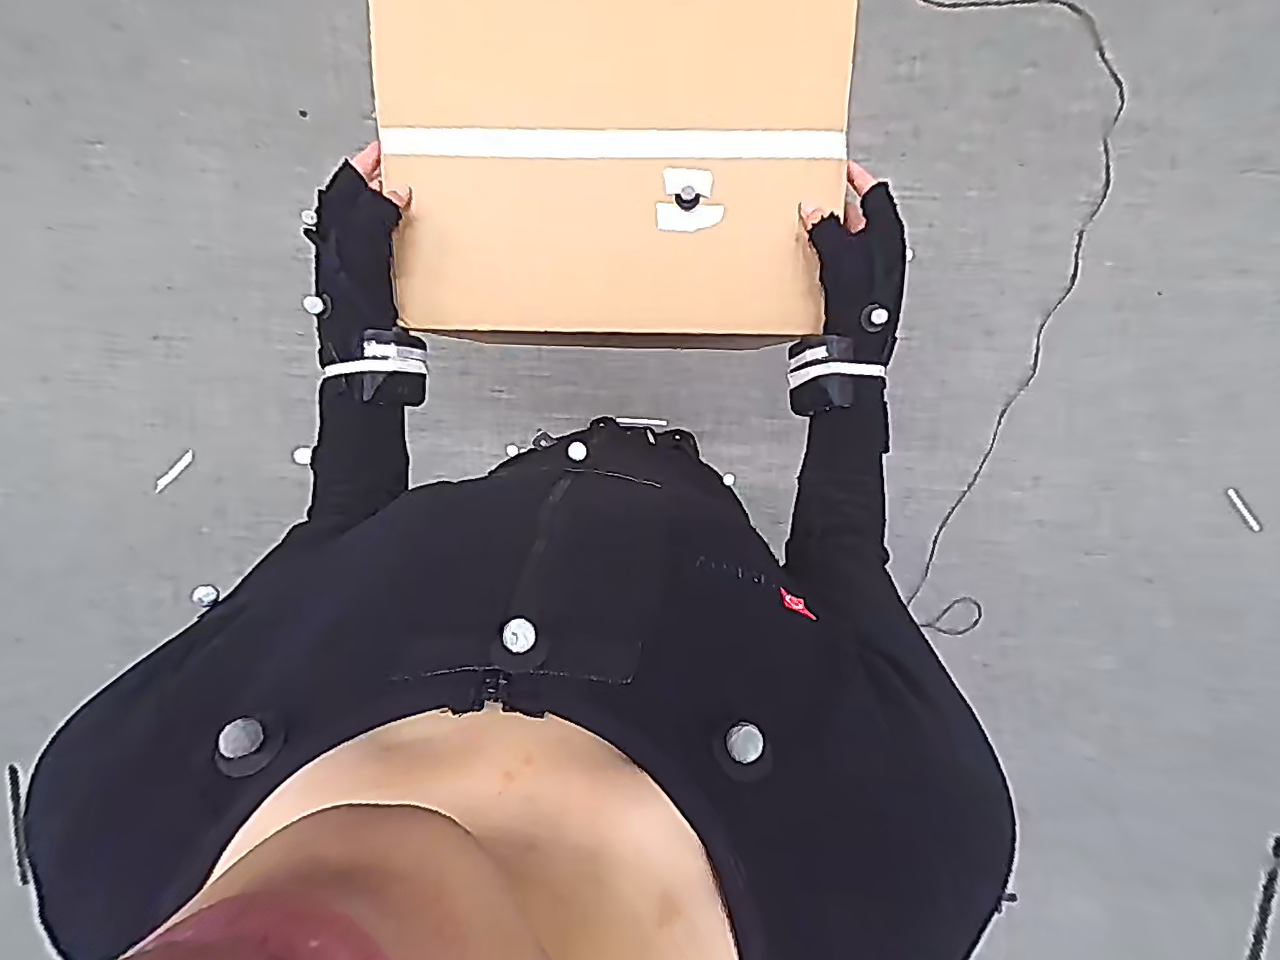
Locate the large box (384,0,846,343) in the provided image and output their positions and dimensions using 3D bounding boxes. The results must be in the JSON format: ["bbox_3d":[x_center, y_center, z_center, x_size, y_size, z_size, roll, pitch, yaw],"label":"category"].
[{"bbox_3d":[-0.024,-0.329,0.629,0.408,0.320,0.320,1,101,0],"label":"large box"}]
